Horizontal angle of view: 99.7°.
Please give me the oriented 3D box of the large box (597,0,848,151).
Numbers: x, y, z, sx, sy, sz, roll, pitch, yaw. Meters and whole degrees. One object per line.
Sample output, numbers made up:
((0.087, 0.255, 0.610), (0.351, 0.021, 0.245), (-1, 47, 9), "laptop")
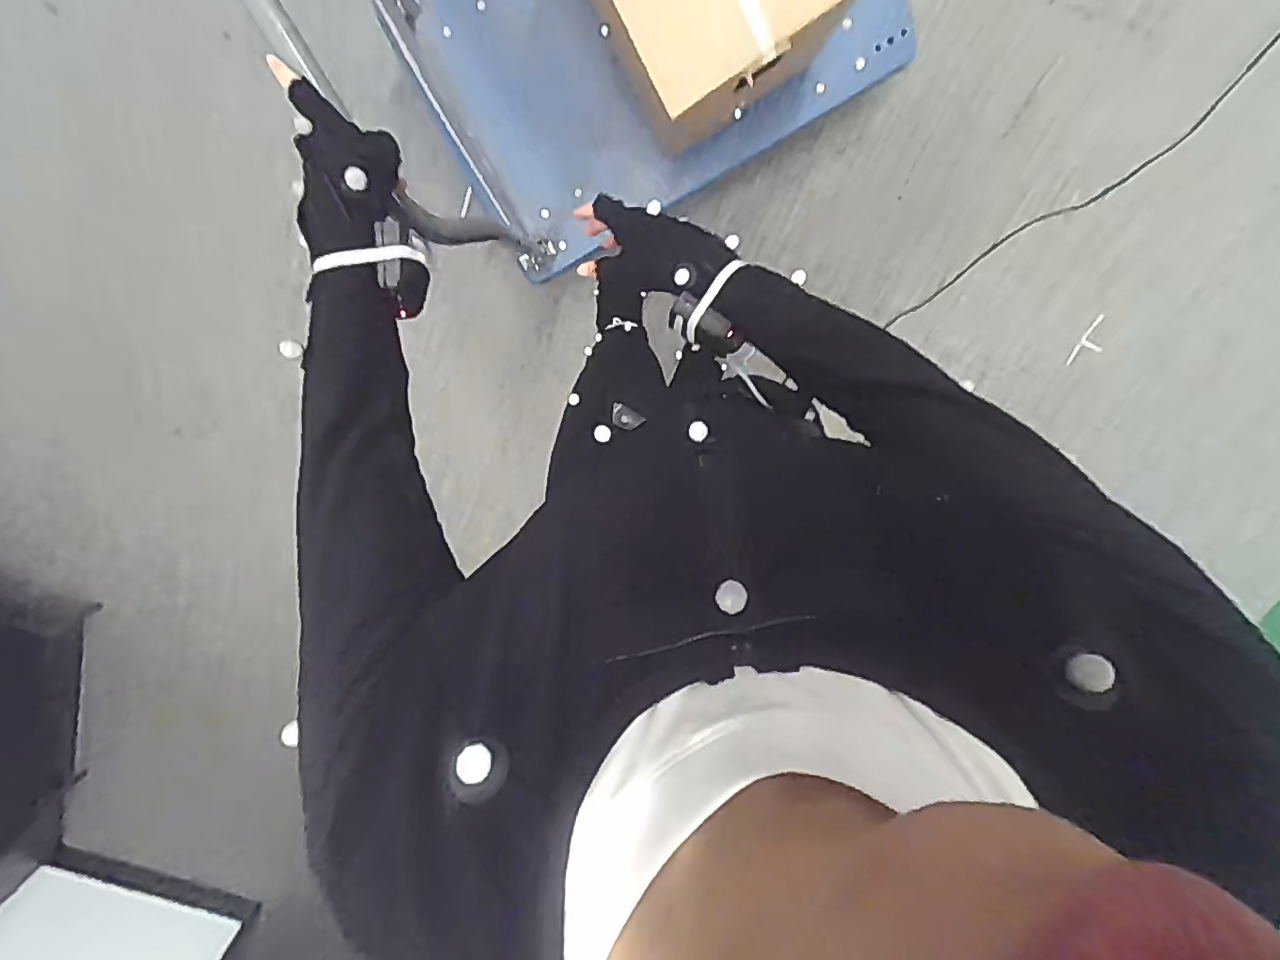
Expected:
((0.089, -0.831, 0.856), (0.320, 0.320, 0.408), (-29, 106, 12), "large box")
